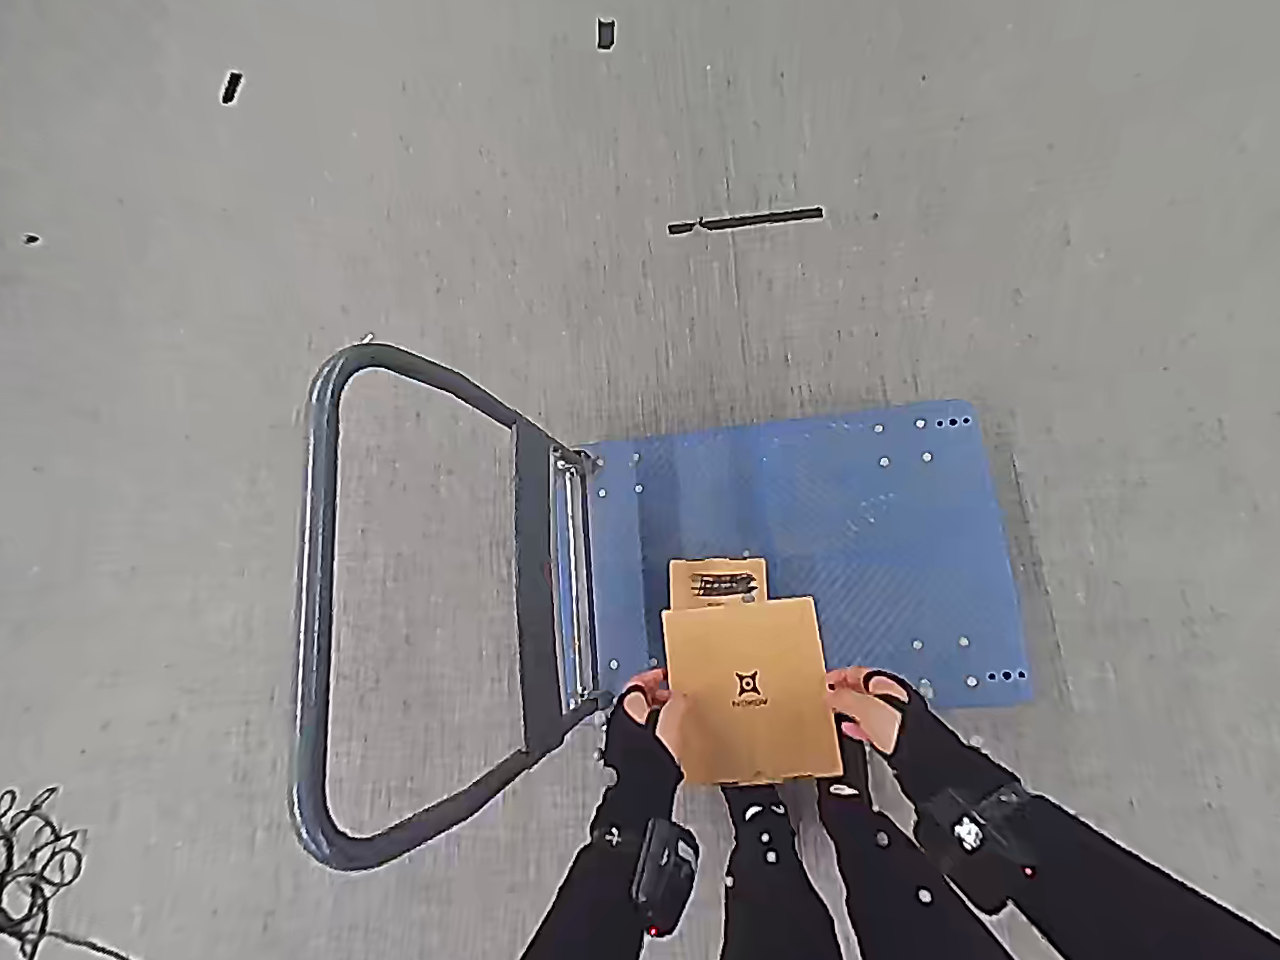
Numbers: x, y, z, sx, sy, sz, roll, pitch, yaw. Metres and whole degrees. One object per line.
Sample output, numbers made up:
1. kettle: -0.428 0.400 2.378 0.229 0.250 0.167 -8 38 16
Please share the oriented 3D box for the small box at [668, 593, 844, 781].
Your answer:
1. small box: 0.121 0.235 0.639 0.168 0.176 0.179 -6 73 3
